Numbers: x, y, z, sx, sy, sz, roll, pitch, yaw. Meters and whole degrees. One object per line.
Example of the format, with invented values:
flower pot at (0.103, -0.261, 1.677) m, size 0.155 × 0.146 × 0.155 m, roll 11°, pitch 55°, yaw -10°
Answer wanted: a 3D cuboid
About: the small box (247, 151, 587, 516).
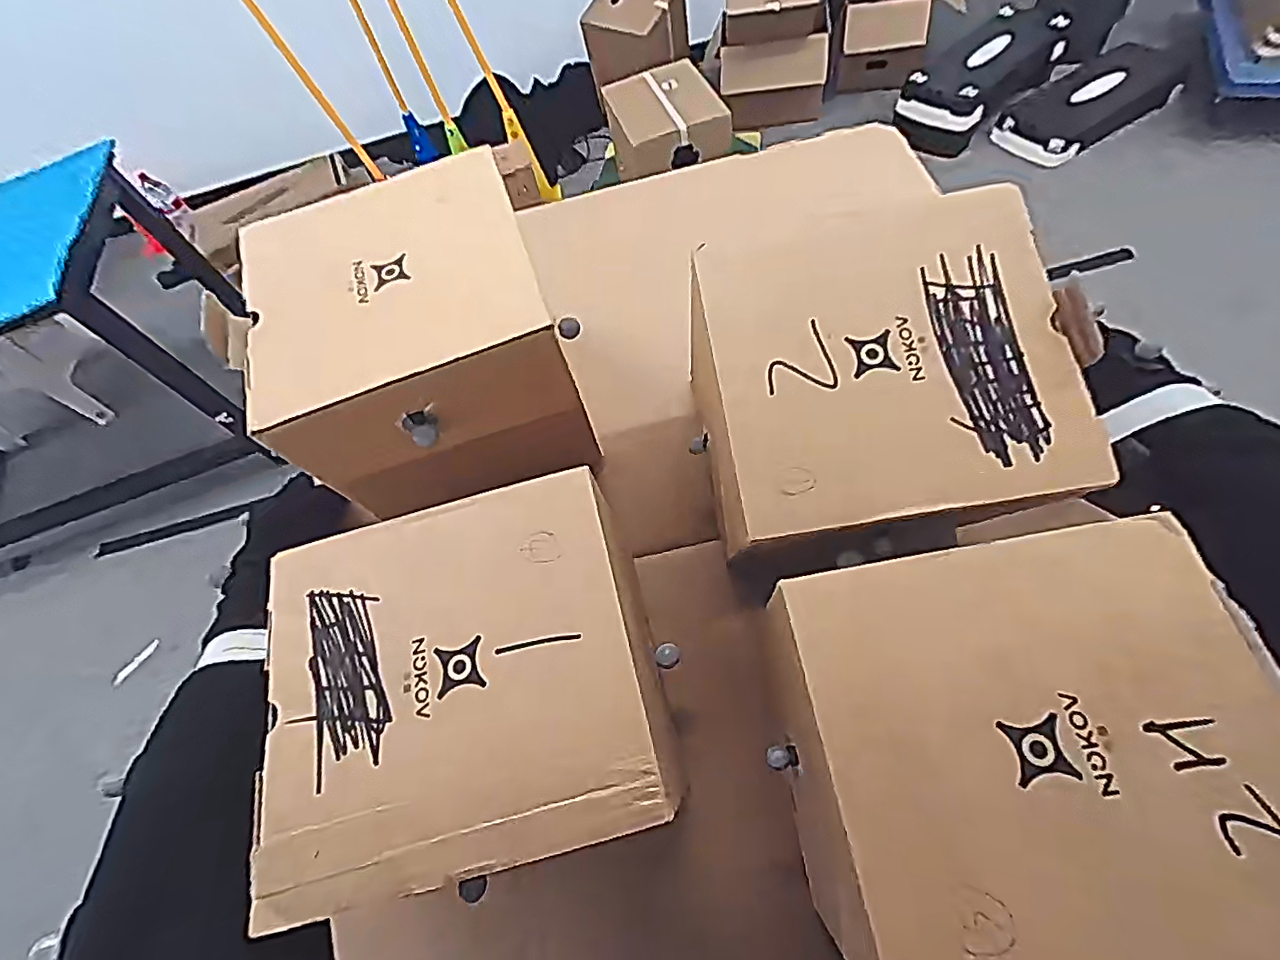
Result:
small box at (-0.149, -0.095, 0.408) m, size 0.179 × 0.176 × 0.168 m, roll -21°, pitch 65°, yaw -1°
